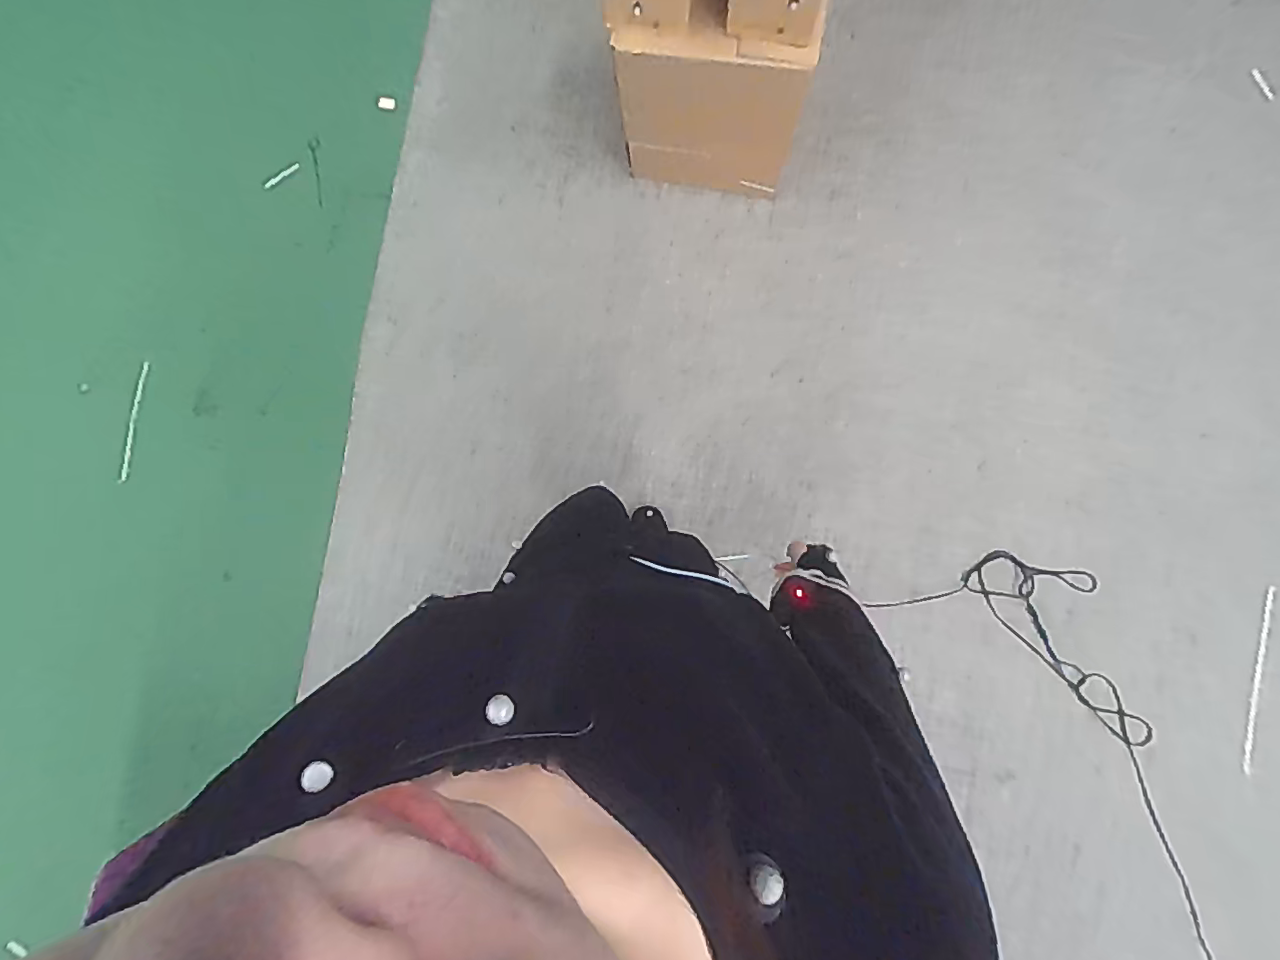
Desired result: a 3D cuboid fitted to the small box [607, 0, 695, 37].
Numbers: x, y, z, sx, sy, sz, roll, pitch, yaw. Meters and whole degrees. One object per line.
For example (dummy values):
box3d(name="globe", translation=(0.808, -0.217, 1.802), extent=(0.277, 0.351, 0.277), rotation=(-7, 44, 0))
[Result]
box3d(name="small box", translation=(0.027, -0.967, 0.980), extent=(0.168, 0.176, 0.179), rotation=(11, 91, 3))

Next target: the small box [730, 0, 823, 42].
box3d(name="small box", translation=(0.262, -0.936, 0.963), extent=(0.168, 0.176, 0.179), rotation=(14, 89, 5))
